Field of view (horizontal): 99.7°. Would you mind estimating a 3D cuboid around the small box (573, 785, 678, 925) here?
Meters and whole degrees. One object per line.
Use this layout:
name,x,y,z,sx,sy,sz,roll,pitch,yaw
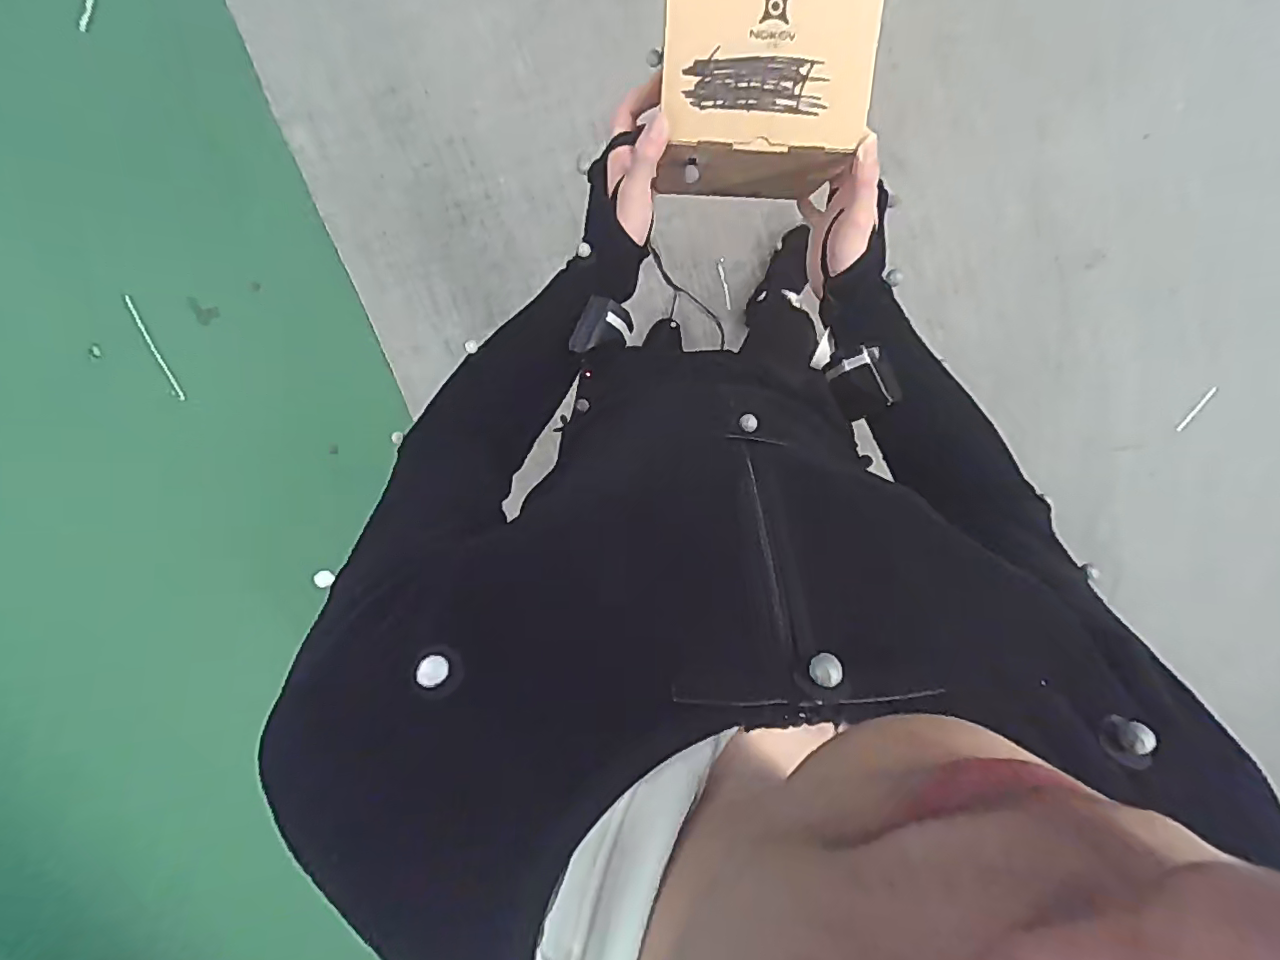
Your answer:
small box,-0.023,0.741,1.081,0.179,0.176,0.168,-9,109,6
